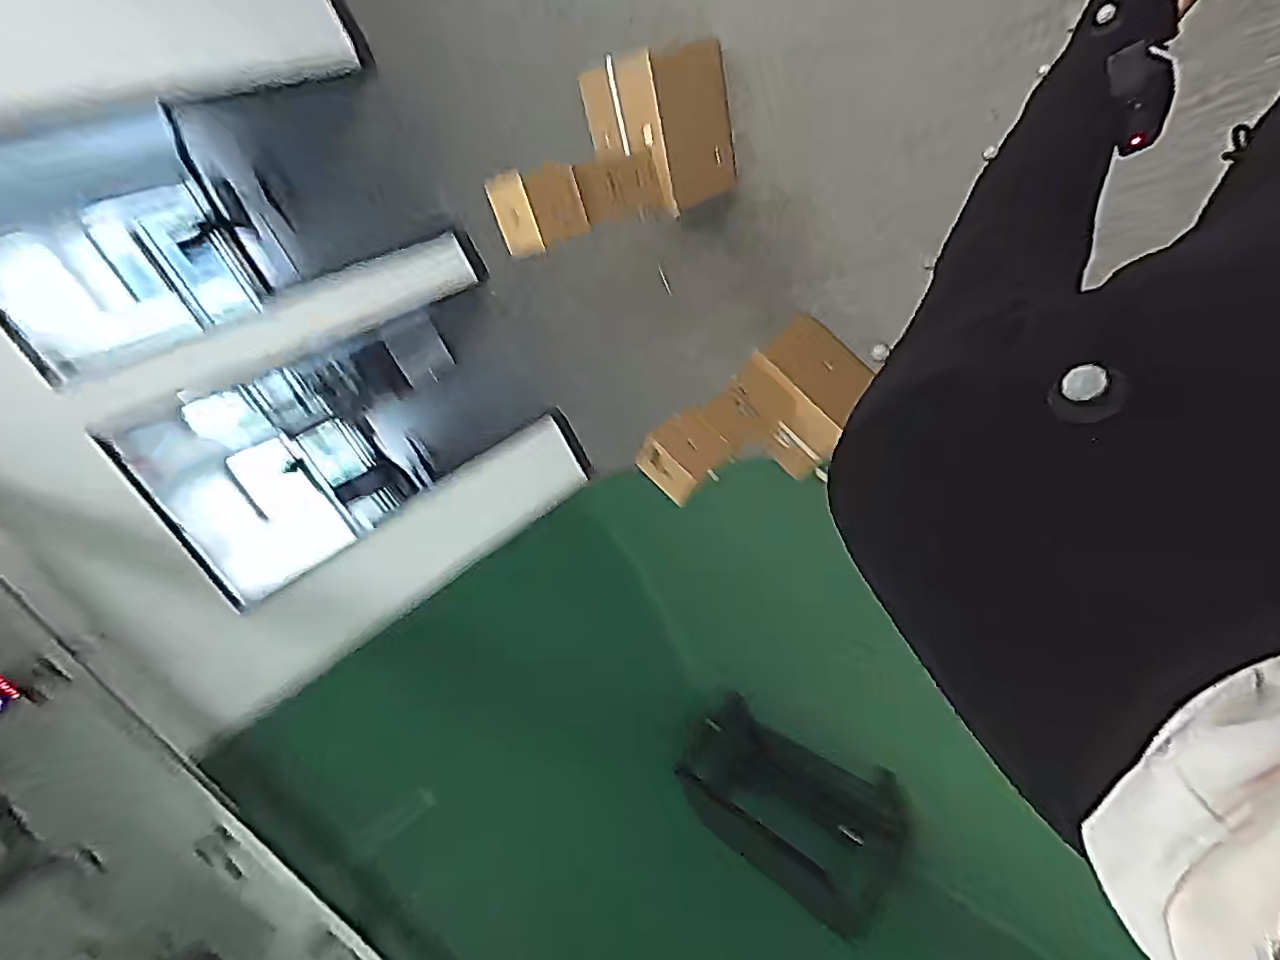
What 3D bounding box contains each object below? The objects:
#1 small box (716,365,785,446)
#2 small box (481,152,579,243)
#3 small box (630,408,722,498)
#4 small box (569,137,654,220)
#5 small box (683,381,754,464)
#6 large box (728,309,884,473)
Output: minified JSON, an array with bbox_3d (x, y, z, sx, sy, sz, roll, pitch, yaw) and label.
[{"bbox_3d":[0.329,-0.248,1.744,0.179,0.176,0.168,47,150,10],"label":"small box"},{"bbox_3d":[-0.280,-0.743,1.423,0.179,0.176,0.168,17,134,45],"label":"small box"},{"bbox_3d":[0.104,-0.087,1.572,0.179,0.176,0.168,46,149,9],"label":"small box"},{"bbox_3d":[-0.076,-0.906,1.624,0.179,0.176,0.168,14,131,47],"label":"small box"},{"bbox_3d":[0.218,-0.168,1.657,0.168,0.176,0.179,47,149,8],"label":"small box"},{"bbox_3d":[0.540,-0.310,1.880,0.408,0.320,0.320,47,151,9],"label":"large box"}]
